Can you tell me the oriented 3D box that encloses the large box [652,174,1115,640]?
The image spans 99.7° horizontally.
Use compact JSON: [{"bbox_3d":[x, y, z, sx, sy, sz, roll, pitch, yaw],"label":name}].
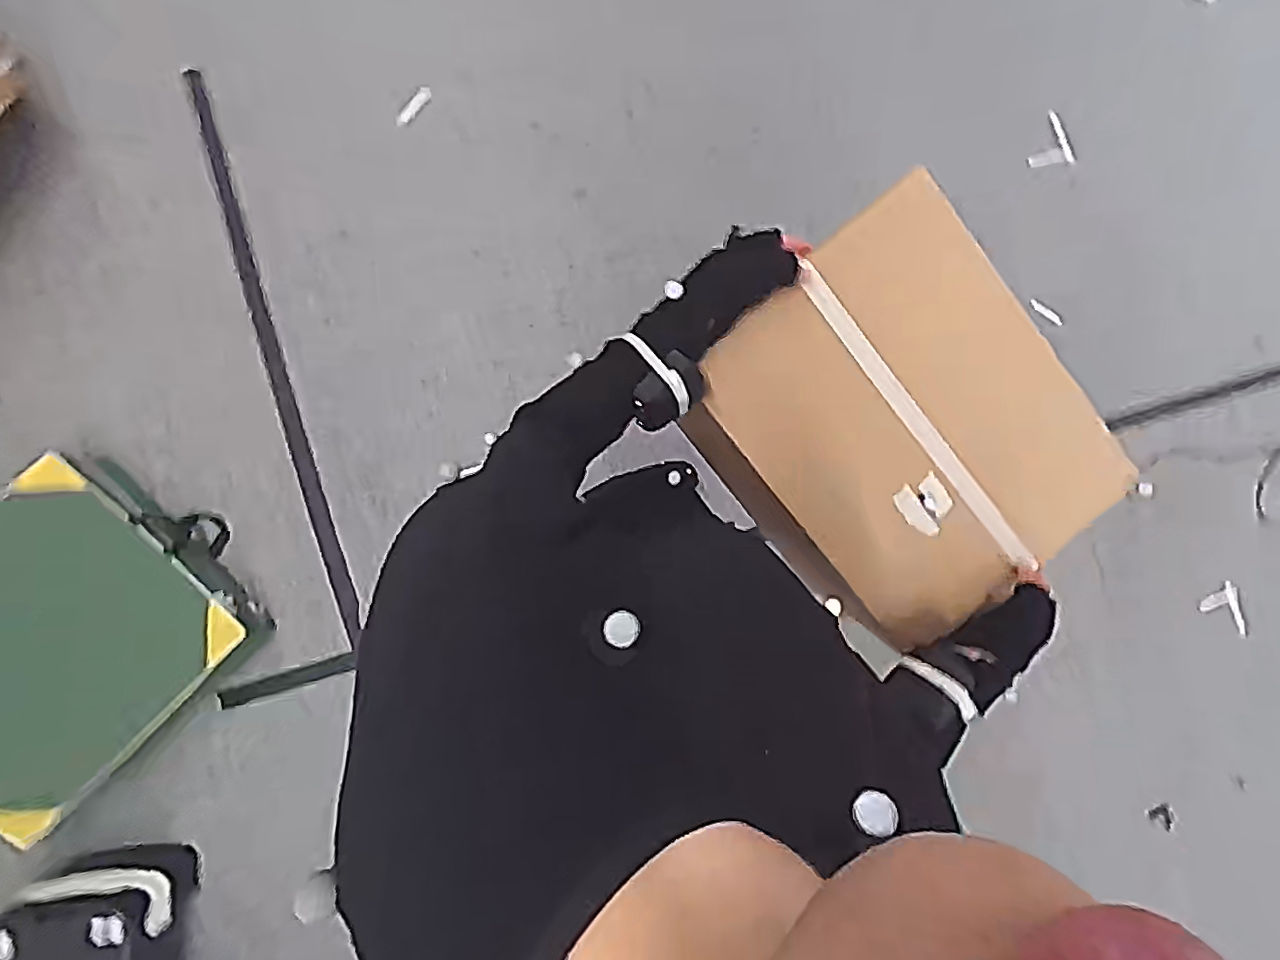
[{"bbox_3d":[0.267,-0.083,0.716,0.320,0.320,0.408,-40,97,2],"label":"large box"}]
